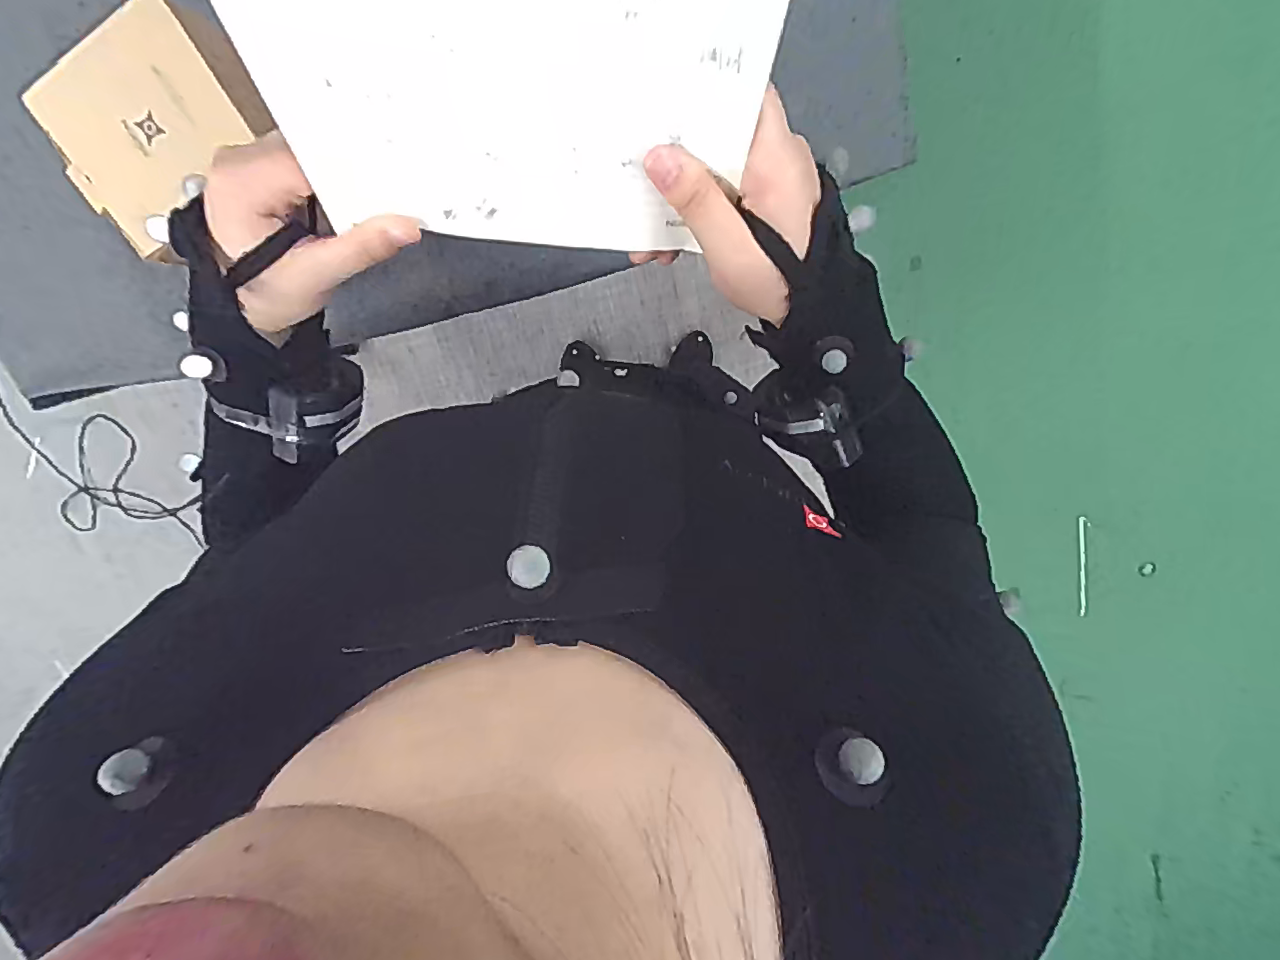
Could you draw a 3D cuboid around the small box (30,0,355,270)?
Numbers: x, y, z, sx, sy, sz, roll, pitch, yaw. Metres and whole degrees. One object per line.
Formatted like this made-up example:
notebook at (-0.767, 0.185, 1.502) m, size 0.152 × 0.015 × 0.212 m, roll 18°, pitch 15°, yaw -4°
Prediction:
small box at (-0.460, -0.350, 0.590) m, size 0.179 × 0.176 × 0.168 m, roll -29°, pitch 104°, yaw 9°
